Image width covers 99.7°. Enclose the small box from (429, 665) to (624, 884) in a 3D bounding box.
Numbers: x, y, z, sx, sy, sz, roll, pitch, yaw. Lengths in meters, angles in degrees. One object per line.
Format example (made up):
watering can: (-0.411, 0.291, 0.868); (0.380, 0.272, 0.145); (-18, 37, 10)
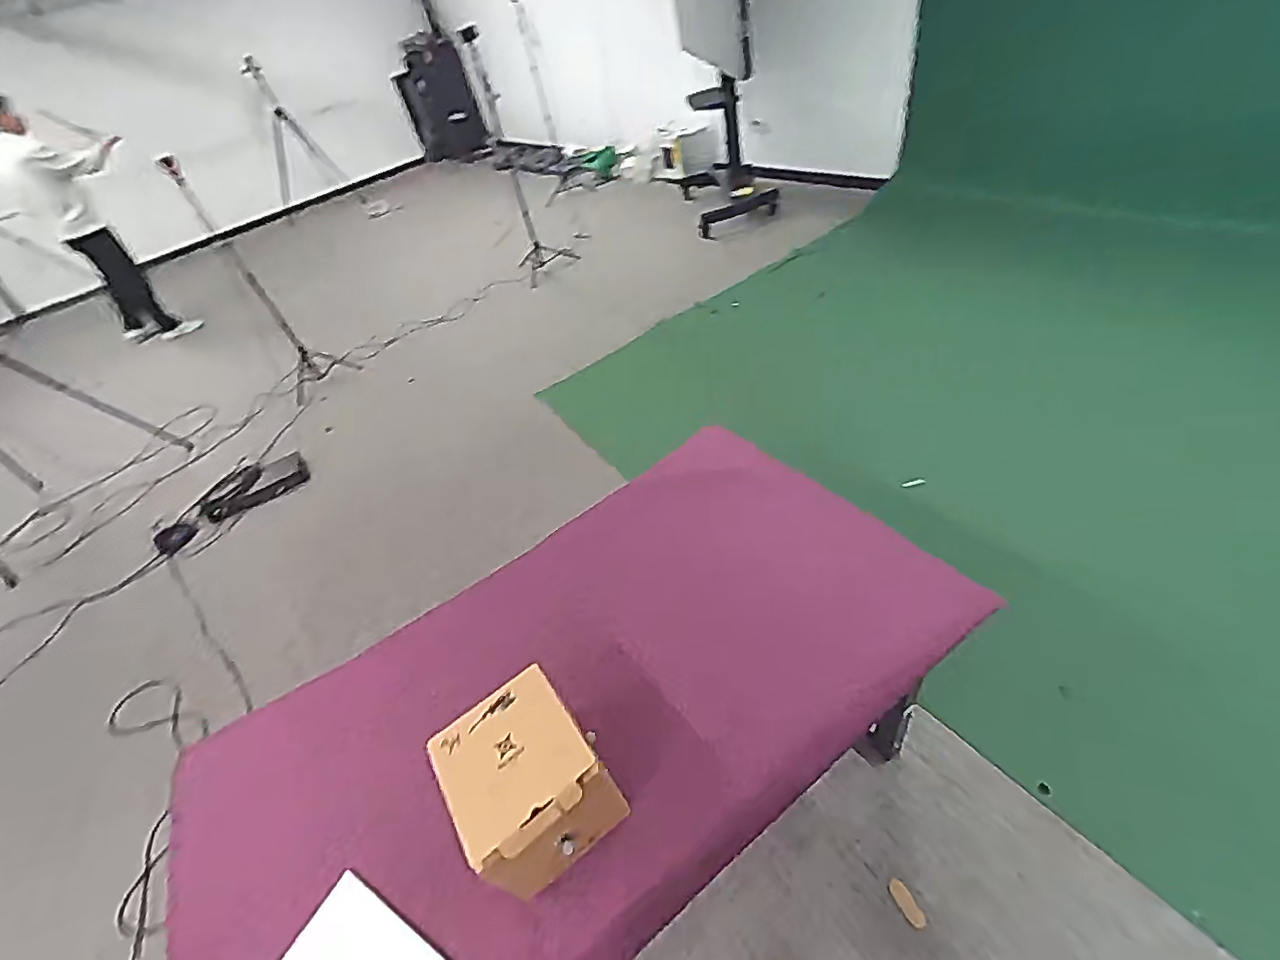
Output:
small box: (-0.141, 0.390, 0.712); (0.168, 0.176, 0.179); (-33, 46, -18)
